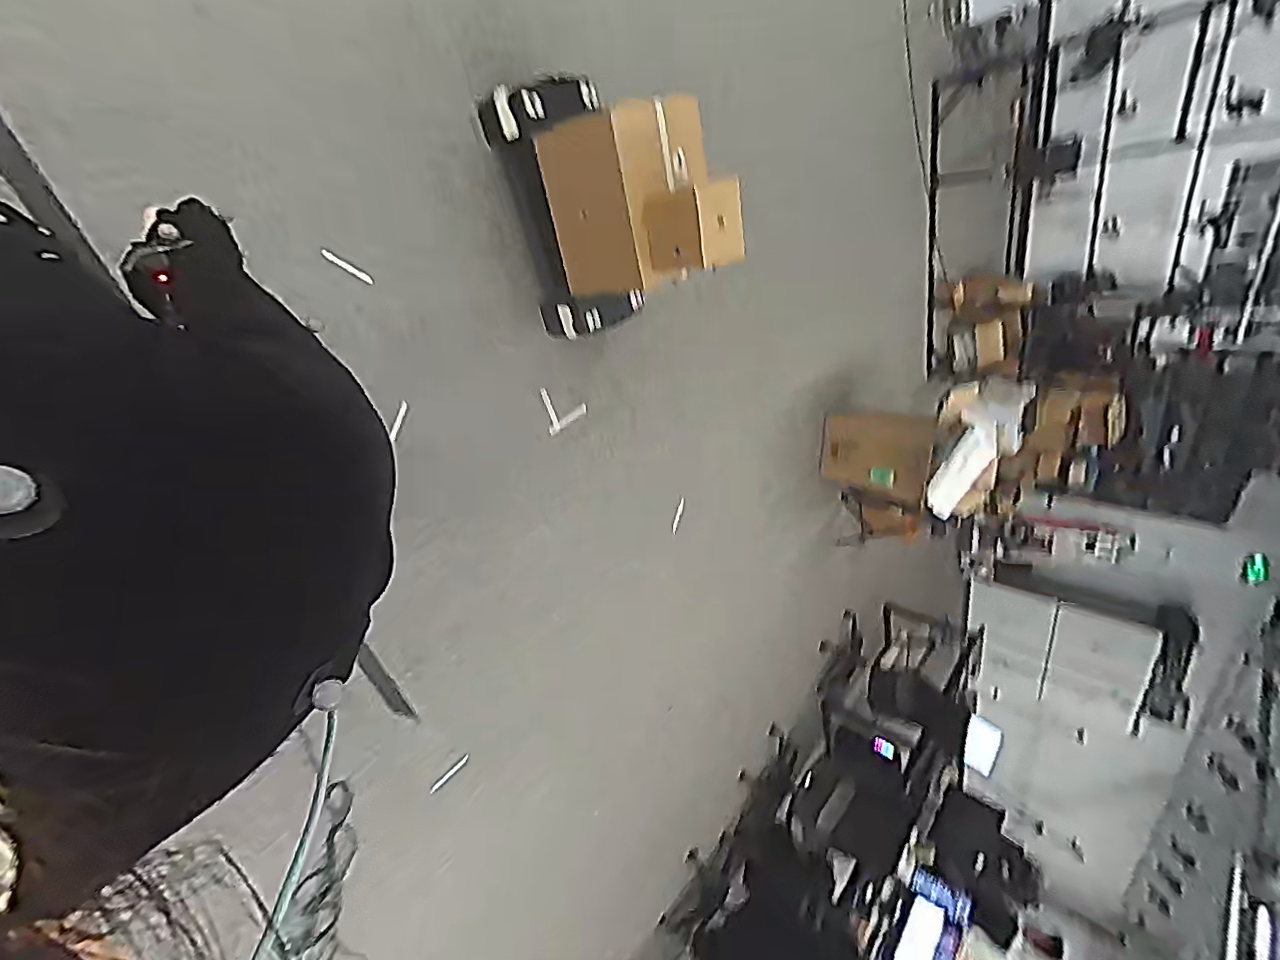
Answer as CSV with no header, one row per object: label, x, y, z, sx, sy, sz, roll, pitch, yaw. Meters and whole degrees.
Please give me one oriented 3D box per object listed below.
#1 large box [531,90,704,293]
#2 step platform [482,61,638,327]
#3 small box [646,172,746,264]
large box,-0.036,-0.757,1.459,0.320,0.320,0.408,-35,123,-35
step platform,-0.215,-0.815,1.606,0.286,0.204,0.684,-32,122,-36
small box,0.136,-0.629,1.313,0.168,0.176,0.179,-31,121,-35
